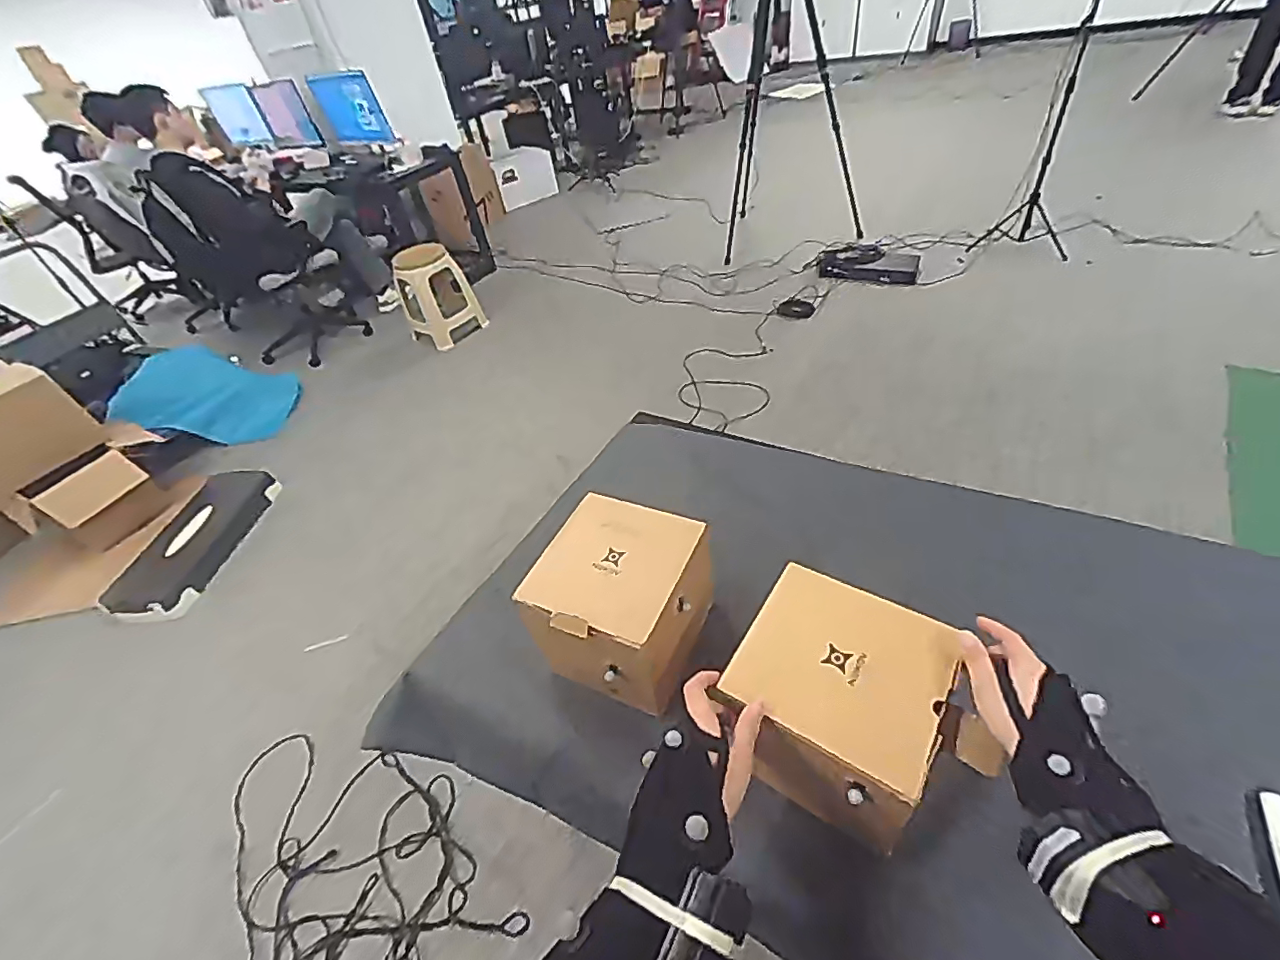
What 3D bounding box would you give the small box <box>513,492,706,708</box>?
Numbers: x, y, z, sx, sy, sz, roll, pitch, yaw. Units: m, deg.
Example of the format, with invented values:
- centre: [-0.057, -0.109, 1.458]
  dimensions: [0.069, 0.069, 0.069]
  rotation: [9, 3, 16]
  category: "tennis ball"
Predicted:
- centre: [-0.022, 0.147, 0.667]
  dimensions: [0.168, 0.176, 0.179]
  rotation: [14, 47, 24]
  category: "small box"
